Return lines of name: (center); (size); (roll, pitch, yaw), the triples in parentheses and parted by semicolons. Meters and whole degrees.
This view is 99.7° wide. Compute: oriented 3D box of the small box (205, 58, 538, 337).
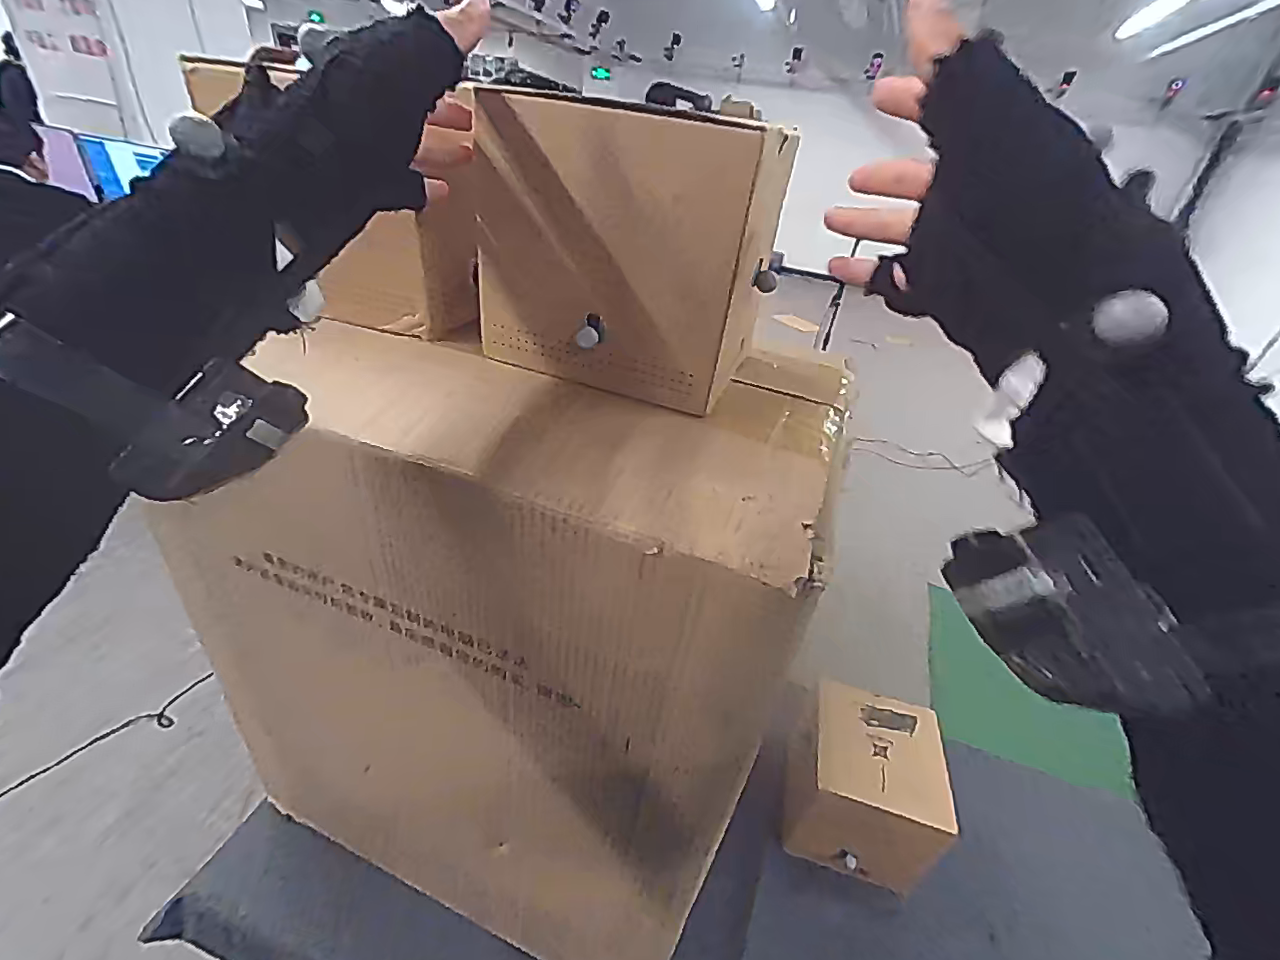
small box: (-0.199, -0.233, 0.456); (0.179, 0.176, 0.168); (15, 36, 11)

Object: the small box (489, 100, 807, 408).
small box: (0.009, -0.170, 0.407); (0.179, 0.176, 0.168); (17, 34, 13)
